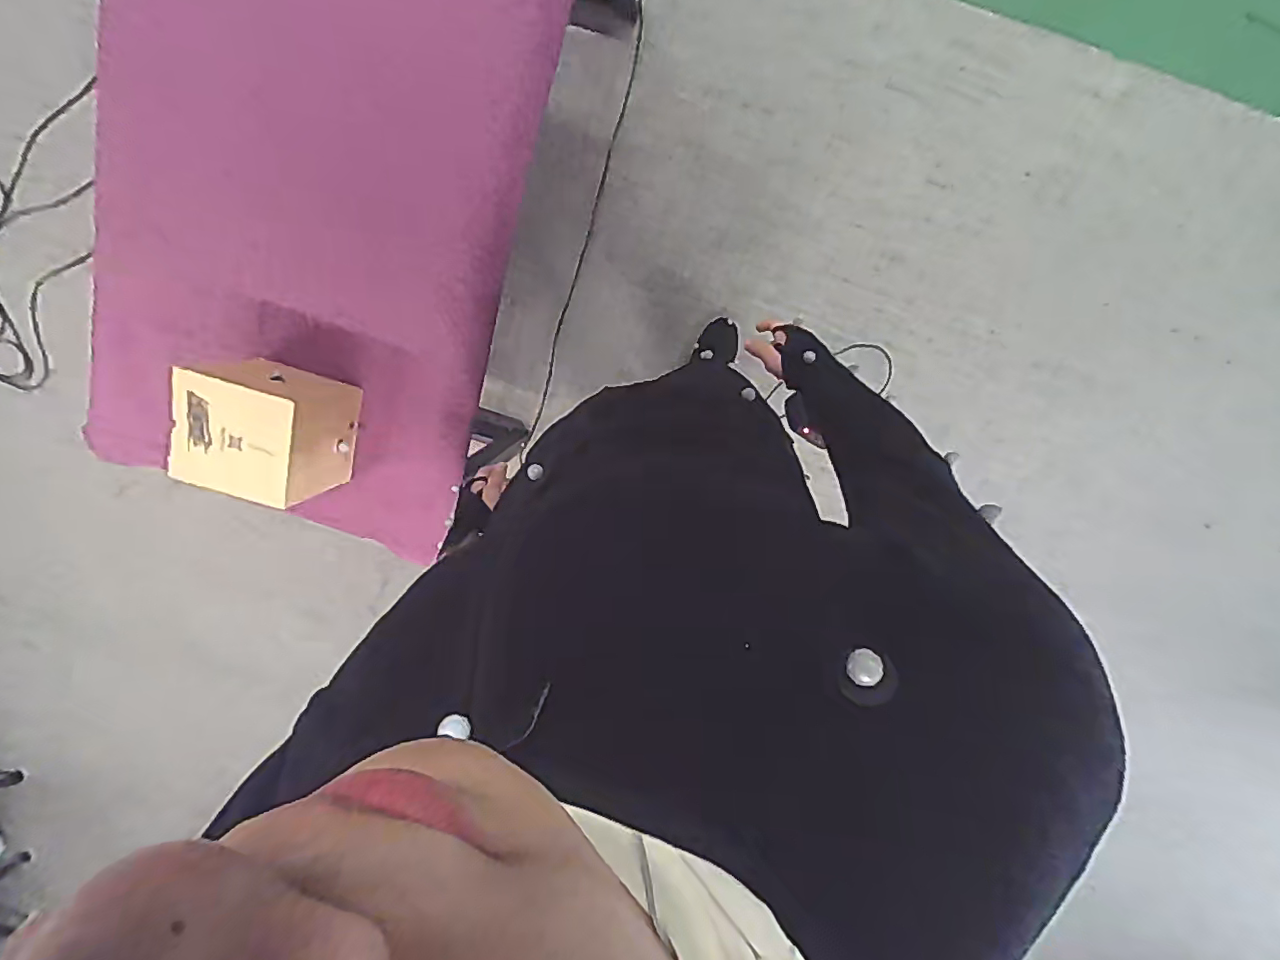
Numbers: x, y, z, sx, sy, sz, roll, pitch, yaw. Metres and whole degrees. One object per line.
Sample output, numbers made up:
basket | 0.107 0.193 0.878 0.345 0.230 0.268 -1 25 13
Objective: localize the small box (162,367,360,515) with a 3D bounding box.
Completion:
small box | -0.562 -0.068 0.818 0.179 0.176 0.168 16 106 -2
